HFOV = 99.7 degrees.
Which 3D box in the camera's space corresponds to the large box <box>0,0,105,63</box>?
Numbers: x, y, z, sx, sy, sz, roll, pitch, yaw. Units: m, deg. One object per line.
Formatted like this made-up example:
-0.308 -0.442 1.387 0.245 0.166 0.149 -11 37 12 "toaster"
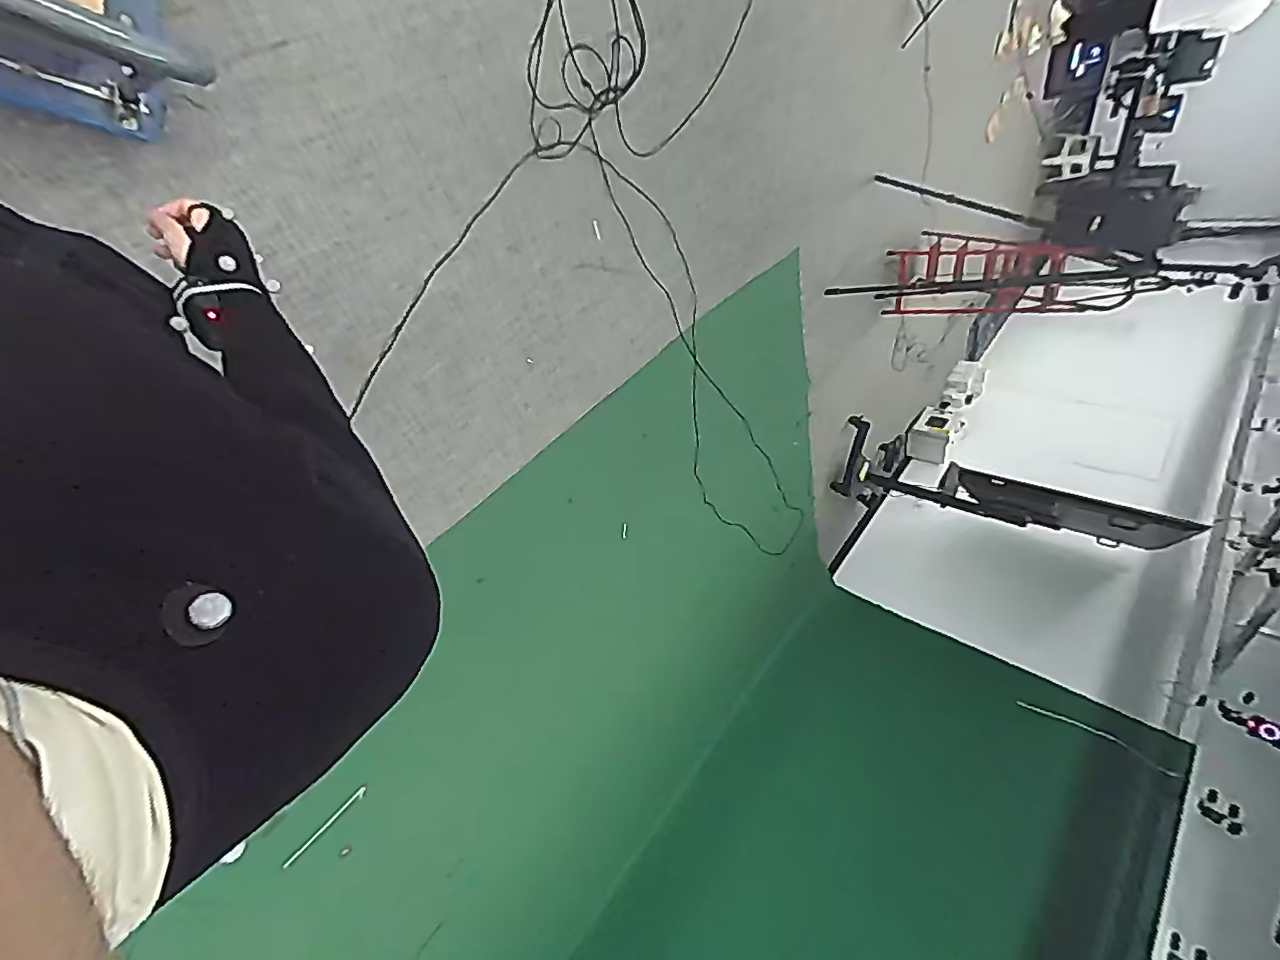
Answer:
-0.931 -0.860 0.693 0.320 0.320 0.408 -6 110 -49 "large box"
